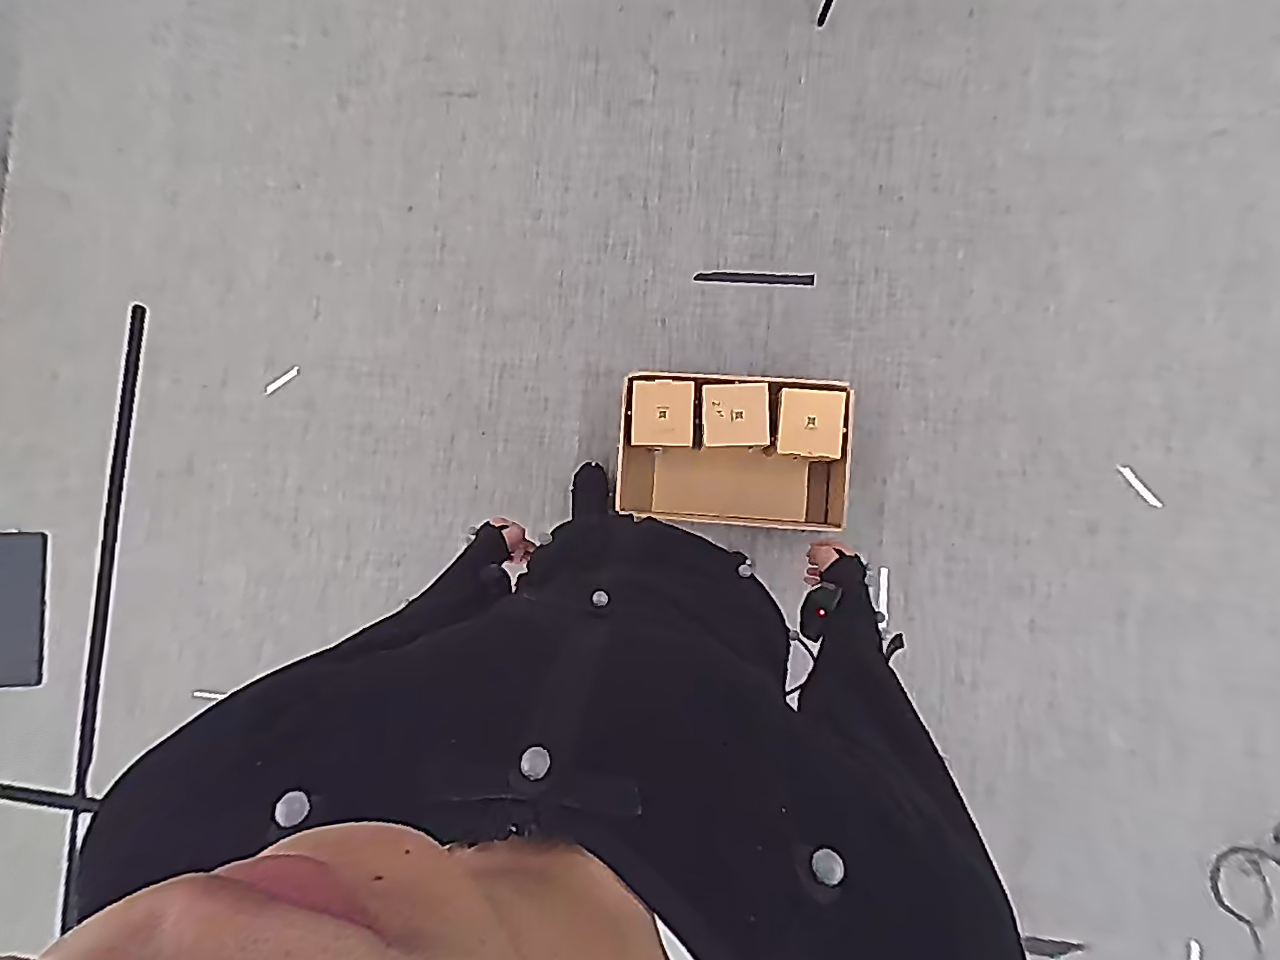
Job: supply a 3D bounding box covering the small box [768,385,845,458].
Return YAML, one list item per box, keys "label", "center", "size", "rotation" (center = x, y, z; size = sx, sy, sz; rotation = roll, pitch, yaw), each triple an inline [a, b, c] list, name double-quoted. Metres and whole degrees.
- label: "small box"
  center: [0.452, -0.157, 1.490]
  size: [0.168, 0.176, 0.179]
  rotation: [5, 91, 5]
